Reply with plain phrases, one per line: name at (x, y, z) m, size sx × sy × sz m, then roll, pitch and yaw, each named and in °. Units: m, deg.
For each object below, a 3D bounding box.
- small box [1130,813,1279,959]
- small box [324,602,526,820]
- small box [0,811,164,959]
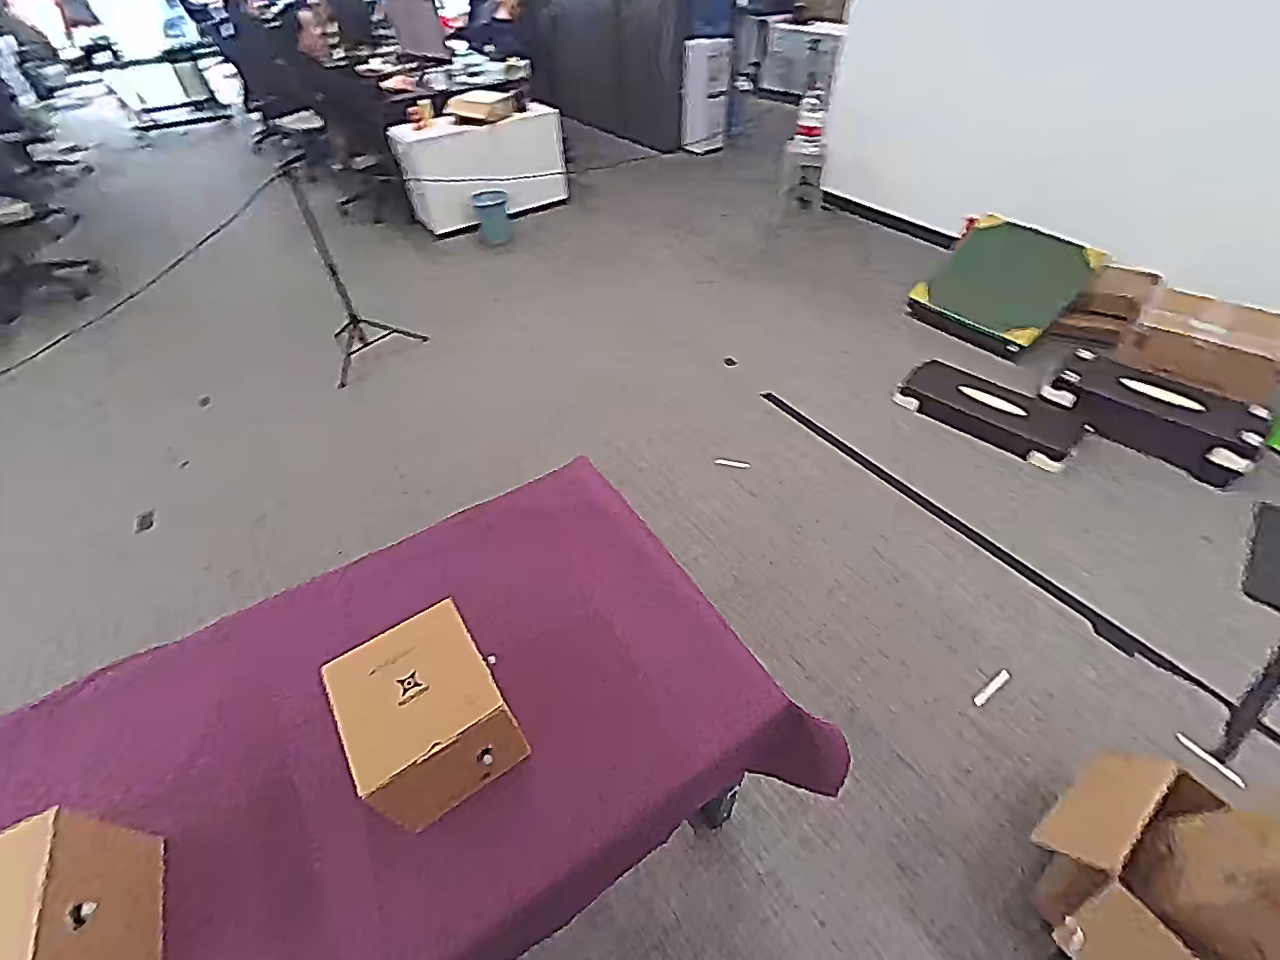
small box at (1.031, 0.741, 0.965) m, size 0.179 × 0.176 × 0.168 m, roll 27°, pitch 56°, yaw 21°
small box at (-0.264, 0.298, 0.689) m, size 0.168 × 0.176 × 0.179 m, roll -27°, pitch 50°, yaw -23°
small box at (-0.615, 0.475, 0.532) m, size 0.168 × 0.176 × 0.179 m, roll -25°, pitch 49°, yaw -20°
